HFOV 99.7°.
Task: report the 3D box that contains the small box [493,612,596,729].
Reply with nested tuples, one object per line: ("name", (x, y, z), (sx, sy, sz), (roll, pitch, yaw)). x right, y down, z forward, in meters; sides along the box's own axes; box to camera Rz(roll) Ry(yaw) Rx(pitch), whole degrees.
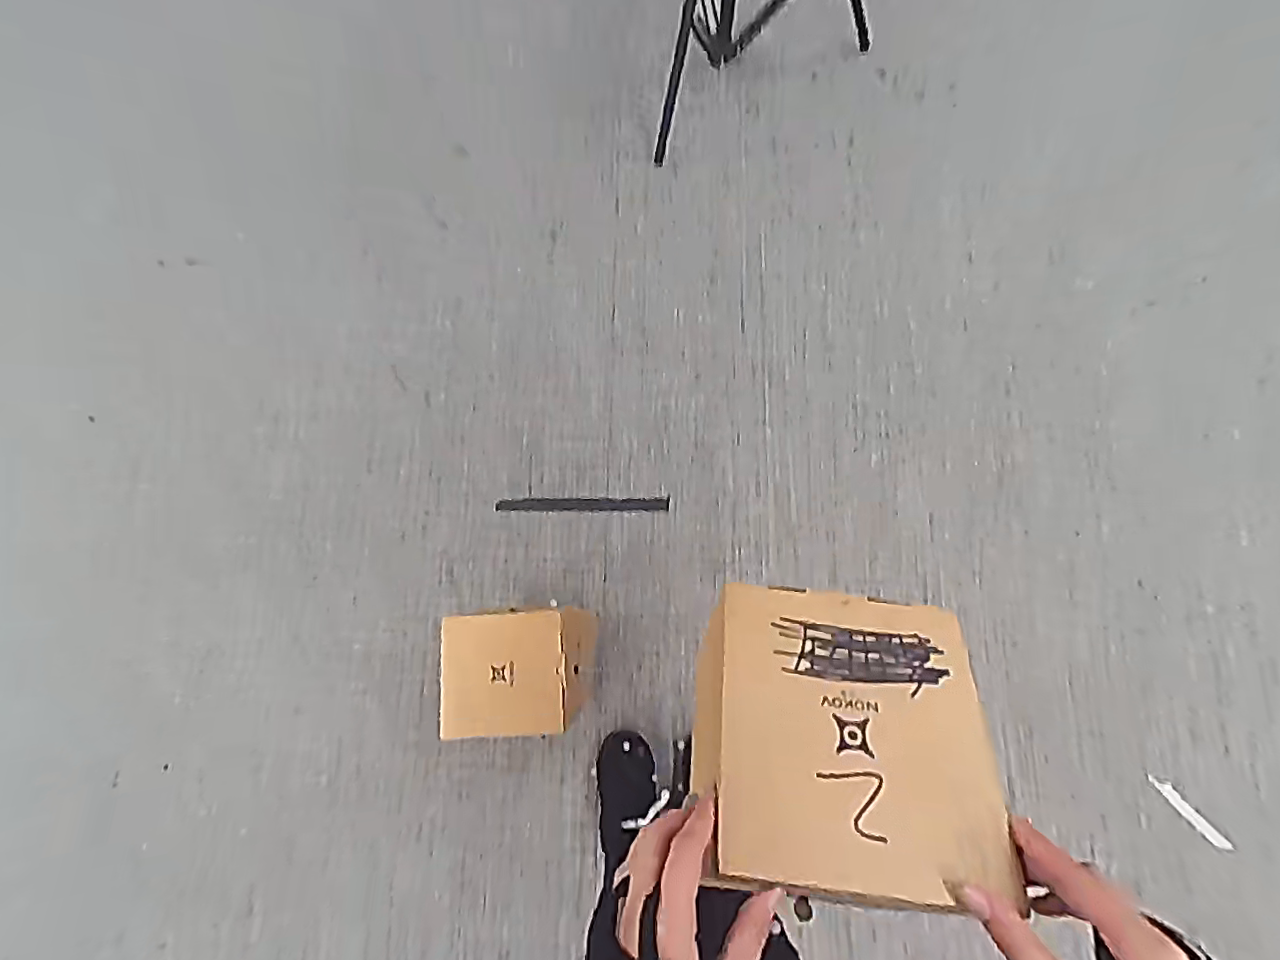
("small box", (-0.175, 0.339, 0.991), (0.168, 0.176, 0.179), (3, 78, 3))

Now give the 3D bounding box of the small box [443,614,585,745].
("small box", (-0.186, 0.298, 0.834), (0.179, 0.176, 0.168), (-4, 78, 1))
